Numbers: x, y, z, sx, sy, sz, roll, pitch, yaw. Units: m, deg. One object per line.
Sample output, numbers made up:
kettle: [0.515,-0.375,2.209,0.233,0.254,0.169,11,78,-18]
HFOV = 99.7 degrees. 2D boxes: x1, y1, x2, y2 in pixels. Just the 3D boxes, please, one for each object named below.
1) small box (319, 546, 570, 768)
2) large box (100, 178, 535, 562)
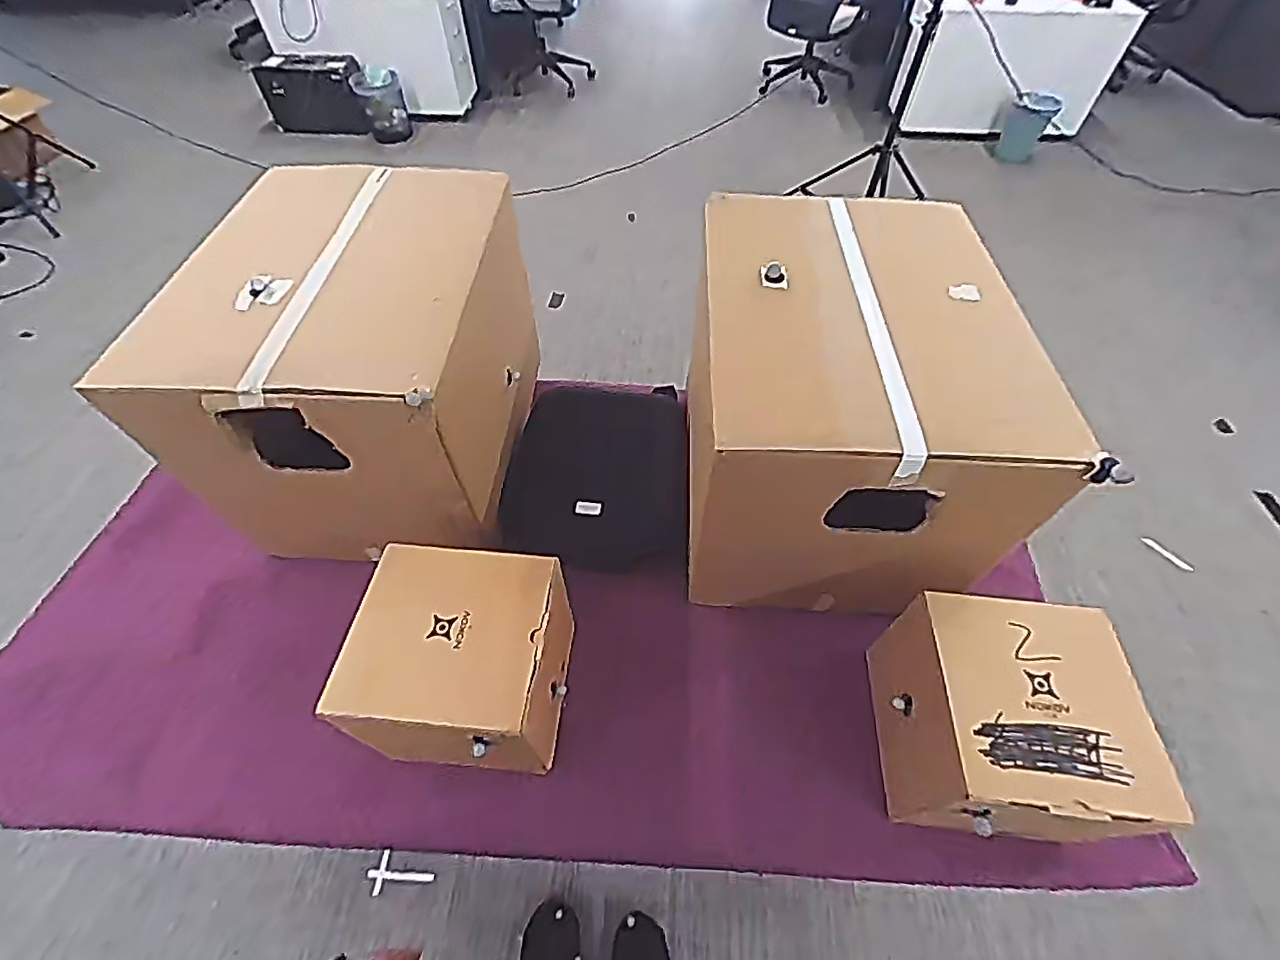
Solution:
small box: [-0.176,0.185,0.555,0.179,0.176,0.168,4,52,2]
large box: [-0.328,-0.138,0.710,0.320,0.320,0.408,1,55,1]
